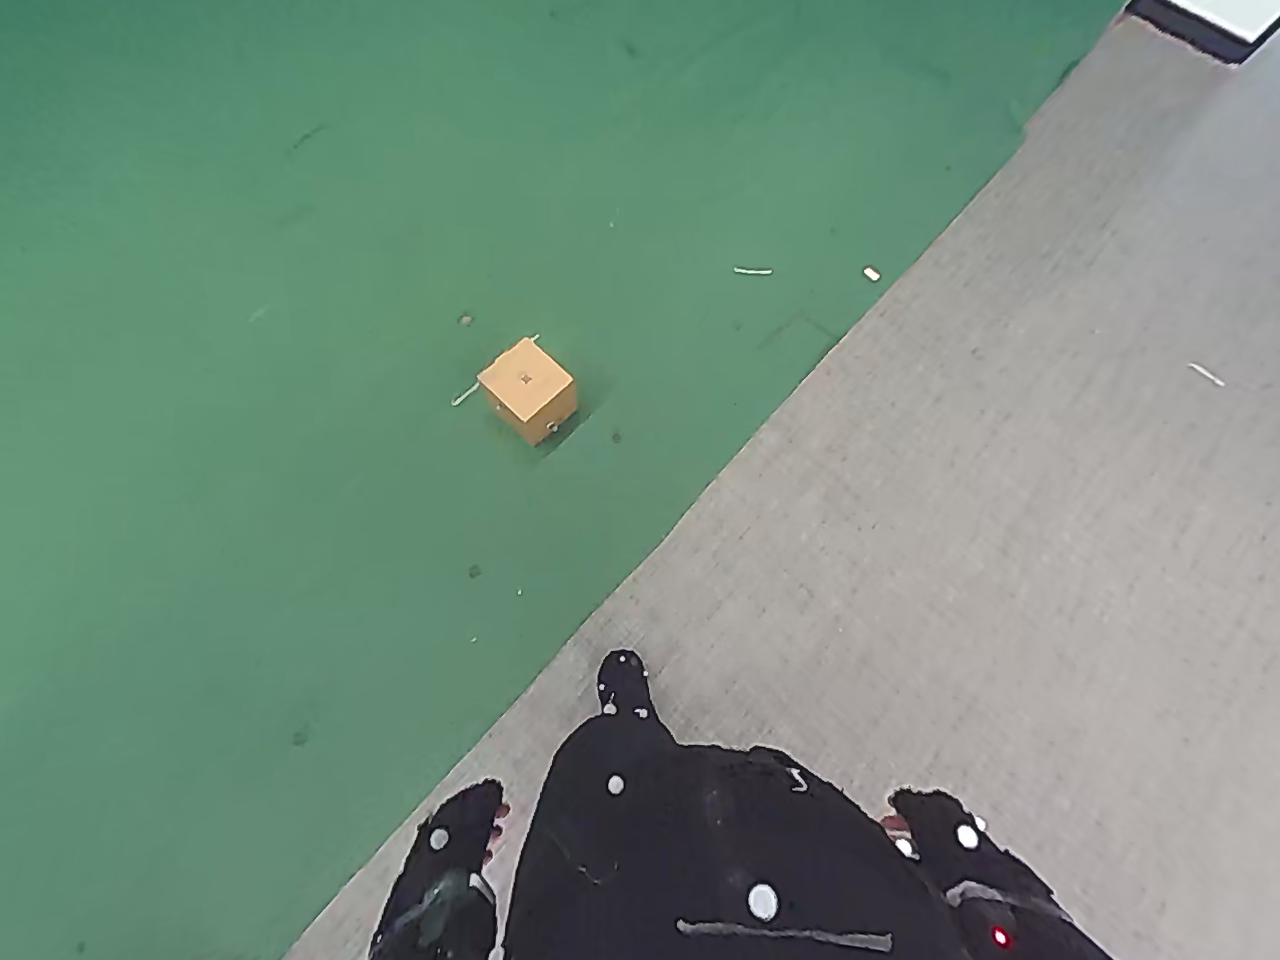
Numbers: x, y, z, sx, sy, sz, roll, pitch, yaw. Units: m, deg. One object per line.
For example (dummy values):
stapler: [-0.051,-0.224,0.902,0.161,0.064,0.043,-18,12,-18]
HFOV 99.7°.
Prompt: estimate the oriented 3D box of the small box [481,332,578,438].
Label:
small box: [-0.277,-0.237,1.395,0.179,0.176,0.168,43,75,9]
